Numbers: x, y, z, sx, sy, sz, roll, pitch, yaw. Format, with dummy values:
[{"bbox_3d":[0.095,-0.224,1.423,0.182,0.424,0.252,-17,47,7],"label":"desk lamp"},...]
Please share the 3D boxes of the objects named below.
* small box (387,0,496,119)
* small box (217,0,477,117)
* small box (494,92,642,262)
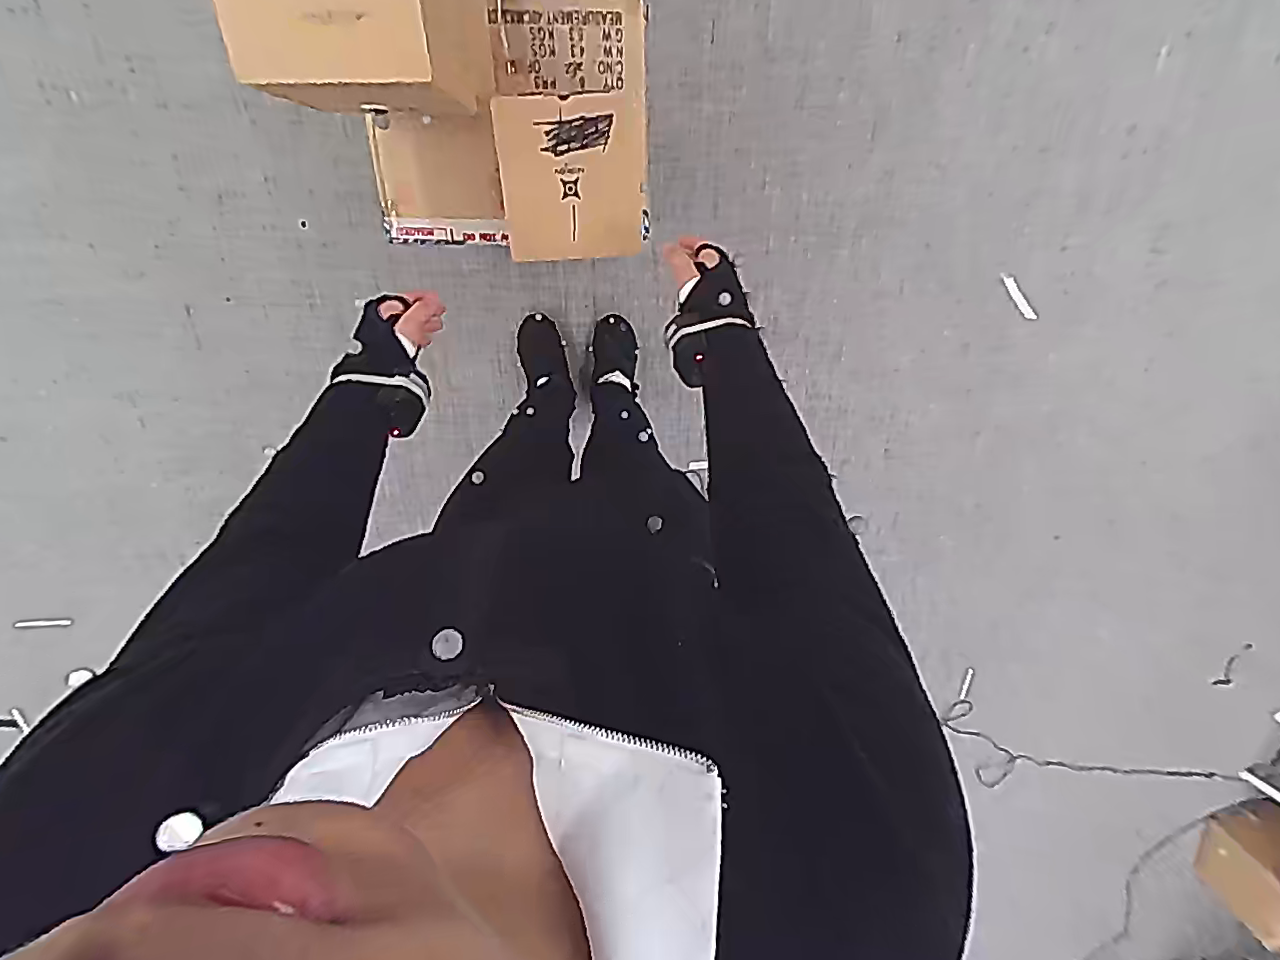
[{"bbox_3d":[-0.271,-0.537,0.625,0.168,0.176,0.179,-1,117,-2],"label":"small box"},{"bbox_3d":[-0.257,-0.446,0.489,0.168,0.176,0.179,-2,117,-1],"label":"small box"},{"bbox_3d":[-0.088,-0.388,0.711,0.168,0.176,0.179,-4,117,-3],"label":"small box"}]
